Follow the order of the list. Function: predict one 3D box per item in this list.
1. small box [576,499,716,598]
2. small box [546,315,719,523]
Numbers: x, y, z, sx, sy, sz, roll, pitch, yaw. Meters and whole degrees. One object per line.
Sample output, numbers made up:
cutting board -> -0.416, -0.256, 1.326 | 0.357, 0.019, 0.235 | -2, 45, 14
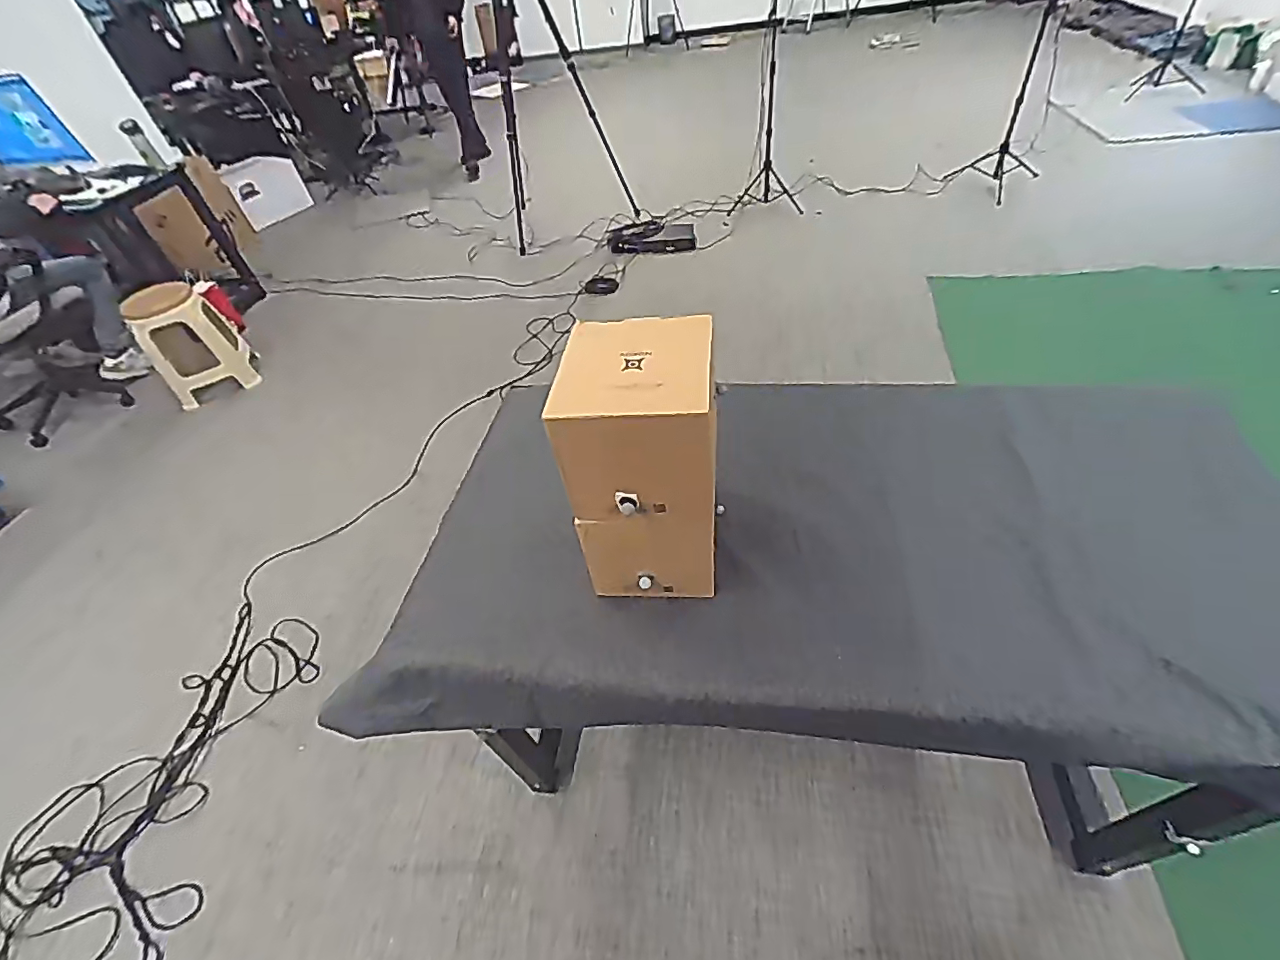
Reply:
small box -> 0.020, 0.041, 0.748 | 0.168, 0.176, 0.179 | -1, 47, 8
small box -> 0.006, -0.070, 0.631 | 0.168, 0.176, 0.179 | -1, 48, 10
